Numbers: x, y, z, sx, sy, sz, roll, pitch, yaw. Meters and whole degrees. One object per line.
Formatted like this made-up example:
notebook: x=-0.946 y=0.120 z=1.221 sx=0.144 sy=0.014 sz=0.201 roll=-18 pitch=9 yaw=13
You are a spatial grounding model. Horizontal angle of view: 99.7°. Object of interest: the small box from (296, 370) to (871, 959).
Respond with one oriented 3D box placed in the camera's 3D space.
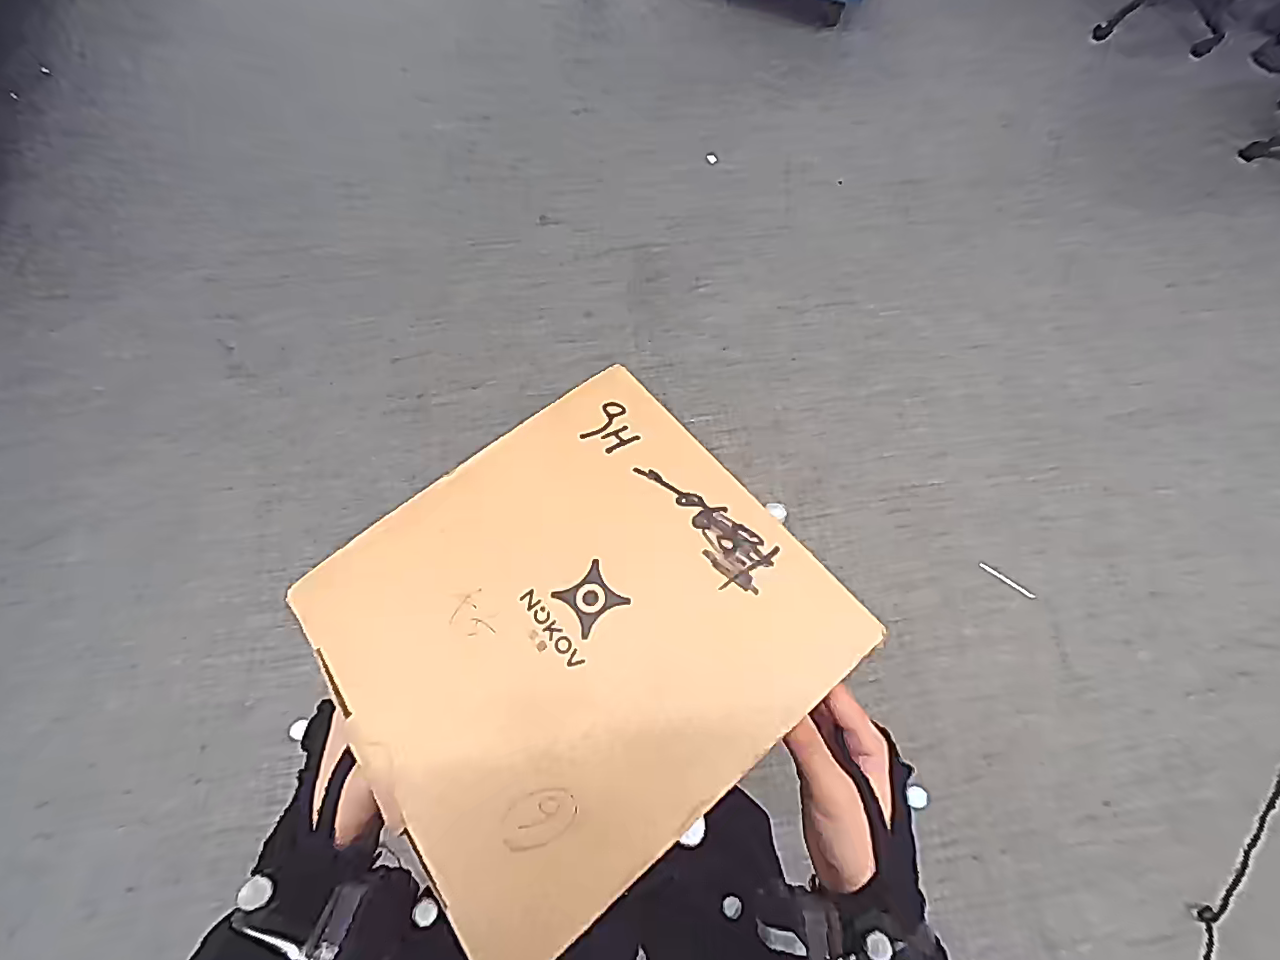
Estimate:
small box: x=-0.022 y=0.086 z=0.284 sx=0.179 sy=0.176 sz=0.168 roll=-37 pitch=68 yaw=-12
